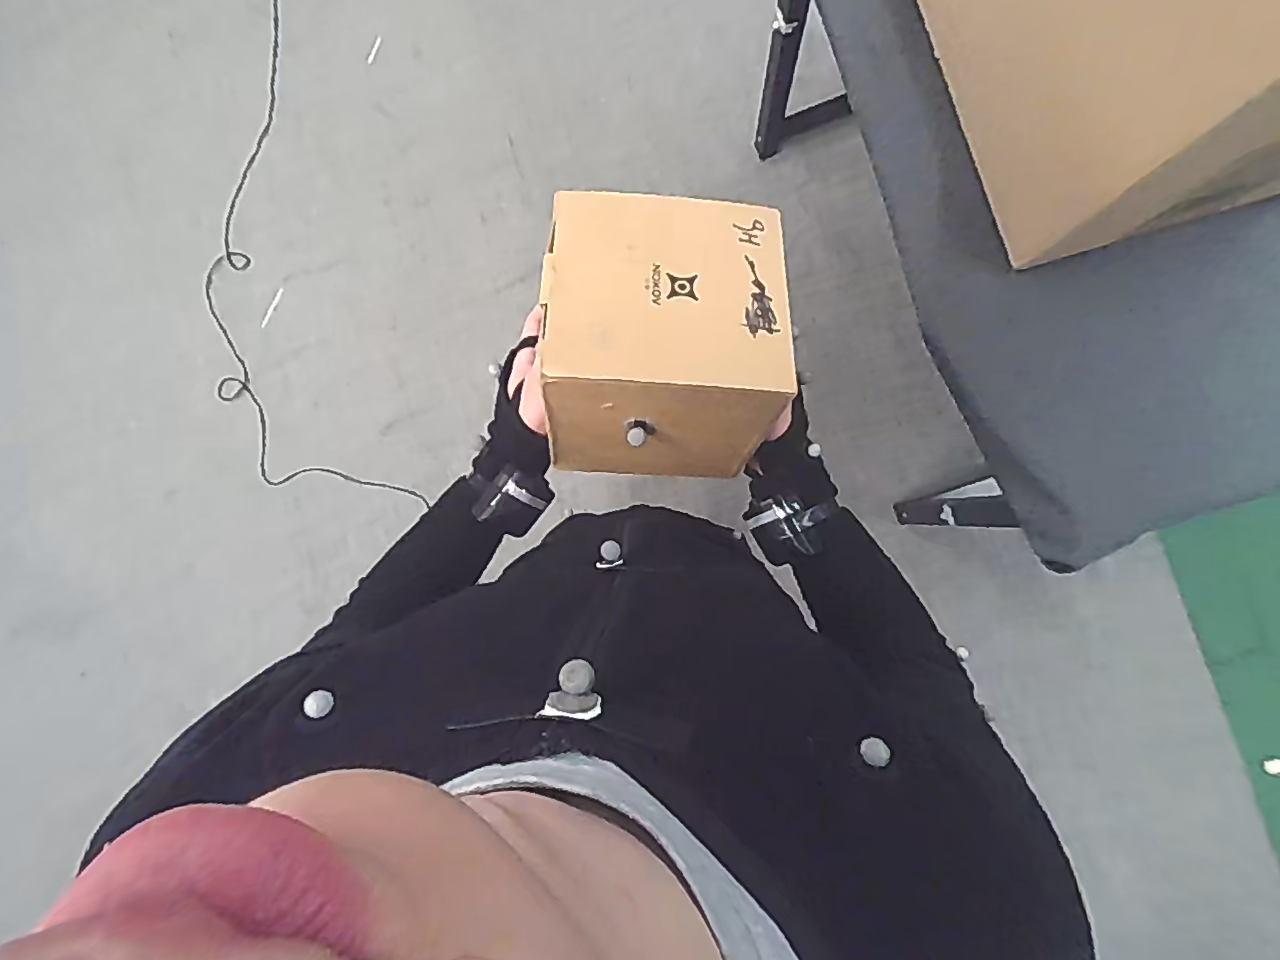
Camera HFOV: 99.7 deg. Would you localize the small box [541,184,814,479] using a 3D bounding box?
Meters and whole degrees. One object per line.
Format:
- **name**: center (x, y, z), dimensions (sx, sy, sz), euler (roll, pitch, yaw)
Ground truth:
- **small box**: center (0.020, -0.106, 0.442), dimensions (0.179, 0.176, 0.168), euler (2, 69, -4)
